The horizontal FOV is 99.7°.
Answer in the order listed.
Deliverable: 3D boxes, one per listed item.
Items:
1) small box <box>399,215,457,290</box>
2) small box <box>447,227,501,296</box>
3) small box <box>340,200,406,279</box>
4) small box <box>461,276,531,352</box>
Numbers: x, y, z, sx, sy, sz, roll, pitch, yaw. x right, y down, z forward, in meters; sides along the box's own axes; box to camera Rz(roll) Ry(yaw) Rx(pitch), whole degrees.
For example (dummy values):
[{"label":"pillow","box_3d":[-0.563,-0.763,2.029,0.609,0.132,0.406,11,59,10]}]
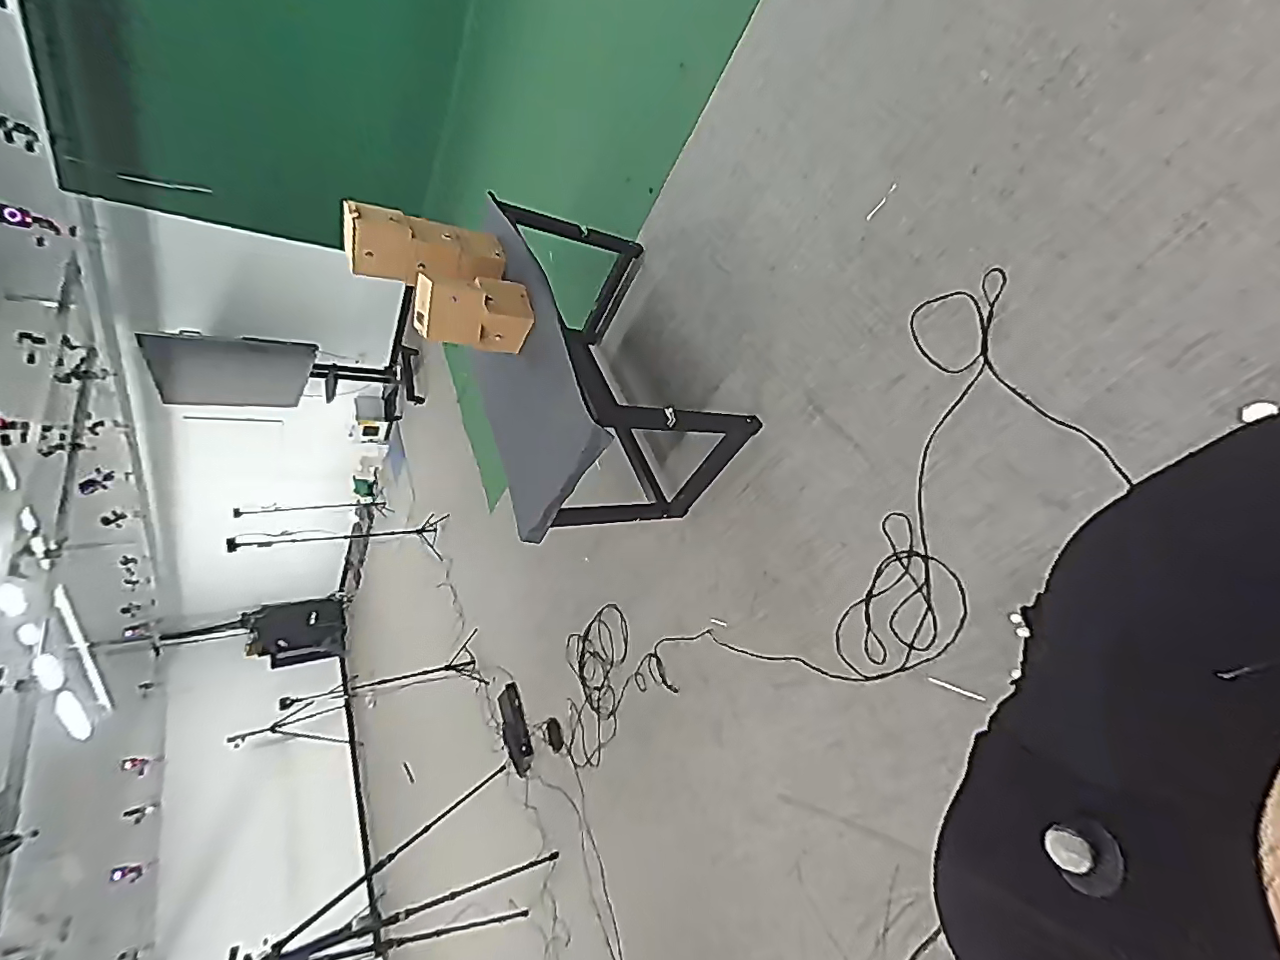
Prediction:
[{"label":"small box","box_3d":[-0.756,-0.791,1.897,0.168,0.176,0.179,59,135,31]},{"label":"small box","box_3d":[-0.627,-0.797,1.996,0.179,0.176,0.168,-56,51,41]},{"label":"small box","box_3d":[-0.885,-0.790,1.794,0.168,0.176,0.179,56,134,32]},{"label":"small box","box_3d":[-0.487,-0.553,1.826,0.179,0.176,0.168,-46,57,46]}]
